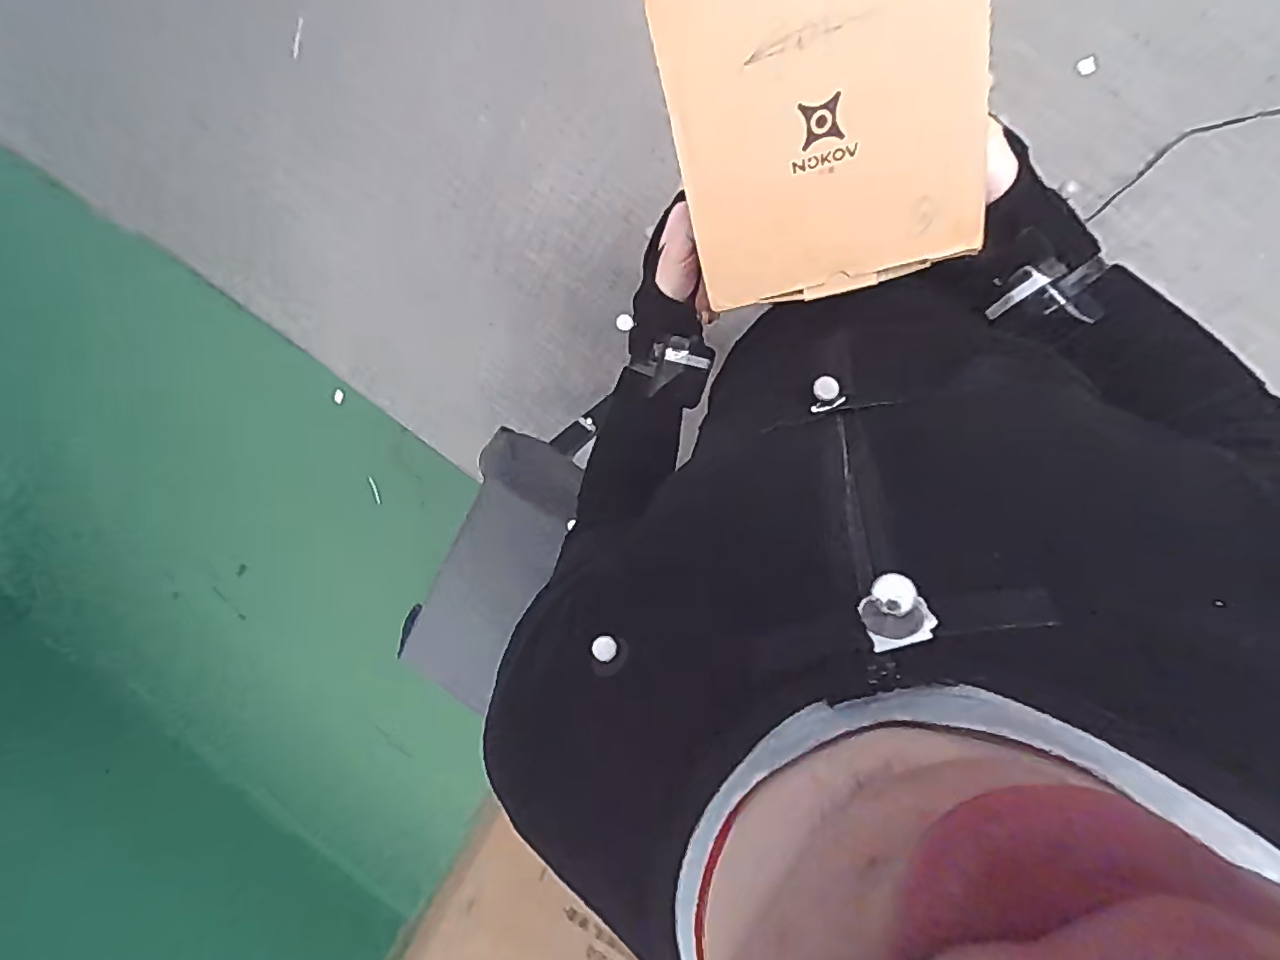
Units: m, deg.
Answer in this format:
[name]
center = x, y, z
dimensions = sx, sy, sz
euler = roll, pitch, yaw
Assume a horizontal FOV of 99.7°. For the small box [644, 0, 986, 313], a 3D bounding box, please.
[small box]
center = 0.115, -0.238, 0.369
dimensions = 0.168, 0.176, 0.179
euler = -9, 120, 17
